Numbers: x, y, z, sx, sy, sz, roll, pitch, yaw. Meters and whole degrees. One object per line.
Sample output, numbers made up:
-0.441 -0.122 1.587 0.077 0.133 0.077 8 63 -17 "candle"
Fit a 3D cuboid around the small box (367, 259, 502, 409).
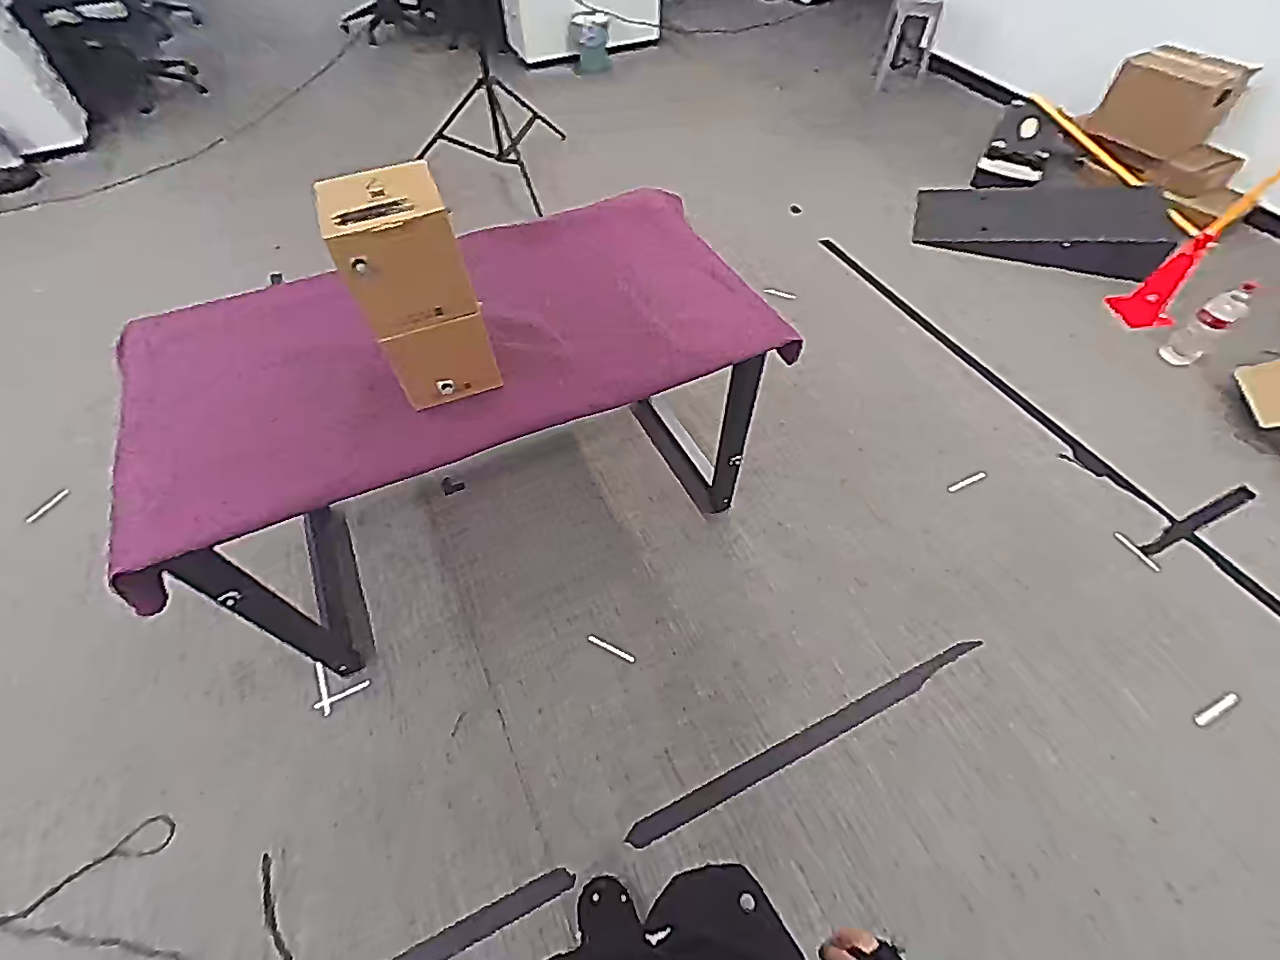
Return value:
-0.363 -0.260 0.970 0.168 0.176 0.179 -21 58 -12 "small box"
